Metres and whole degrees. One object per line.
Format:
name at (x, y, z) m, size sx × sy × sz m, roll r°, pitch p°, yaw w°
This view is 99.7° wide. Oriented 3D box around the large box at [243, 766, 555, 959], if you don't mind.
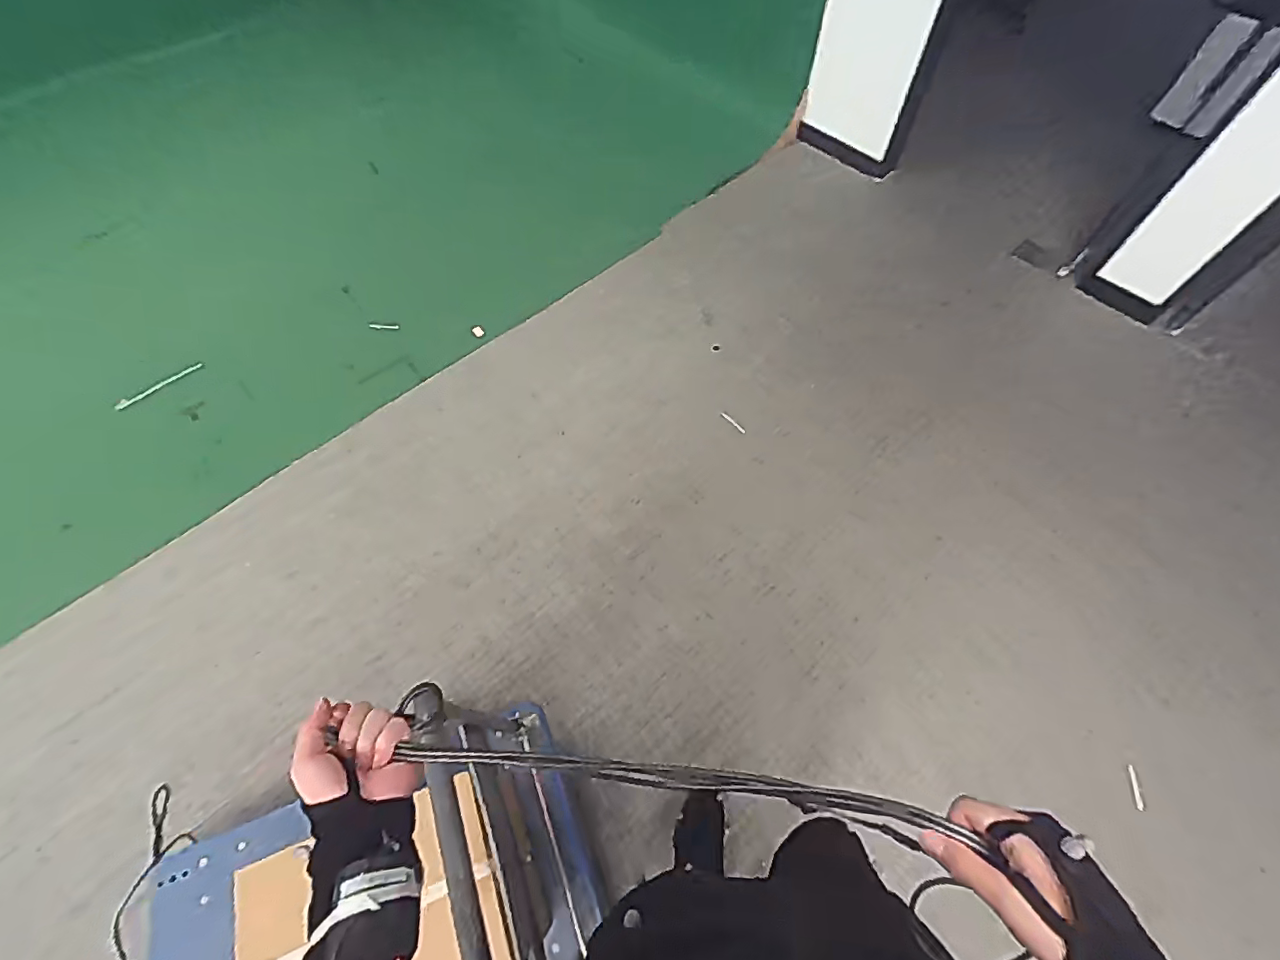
large box at (-0.415, 0.772, 0.996) m, size 0.408 × 0.320 × 0.320 m, roll -21°, pitch 63°, yaw -8°
